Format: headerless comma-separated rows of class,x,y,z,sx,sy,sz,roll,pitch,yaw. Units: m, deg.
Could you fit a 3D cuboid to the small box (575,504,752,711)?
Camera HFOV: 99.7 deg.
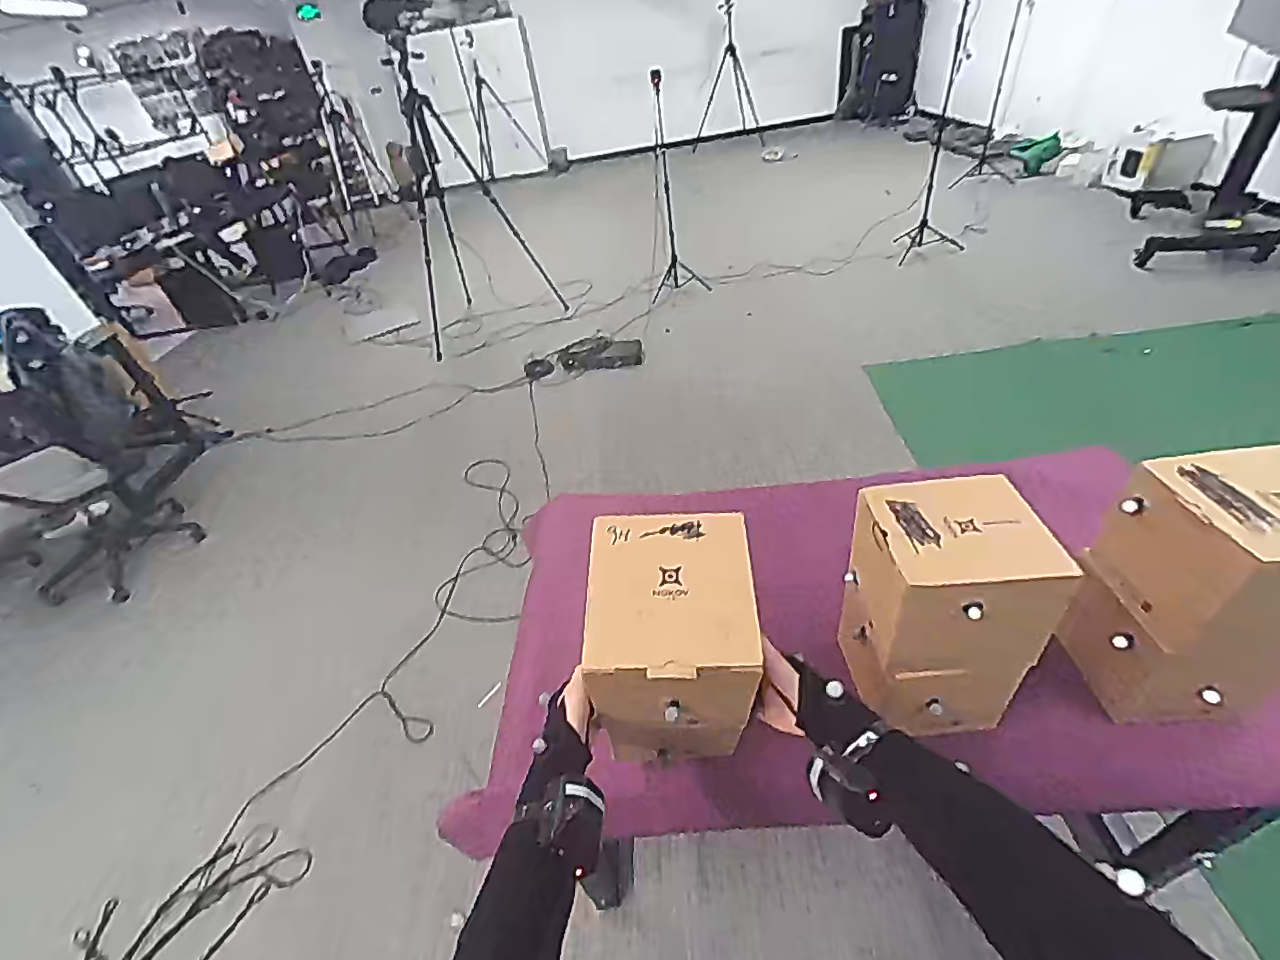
small box,0.029,0.146,0.603,0.168,0.176,0.179,-1,50,3

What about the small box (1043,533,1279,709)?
small box,0.705,0.198,0.741,0.168,0.176,0.179,-5,39,6

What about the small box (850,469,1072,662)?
small box,0.369,0.108,0.667,0.179,0.176,0.168,-5,39,6

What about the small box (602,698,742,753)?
small box,0.033,0.250,0.734,0.168,0.176,0.179,-3,49,-2

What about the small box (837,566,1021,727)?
small box,0.393,0.233,0.772,0.168,0.176,0.179,-8,38,4
